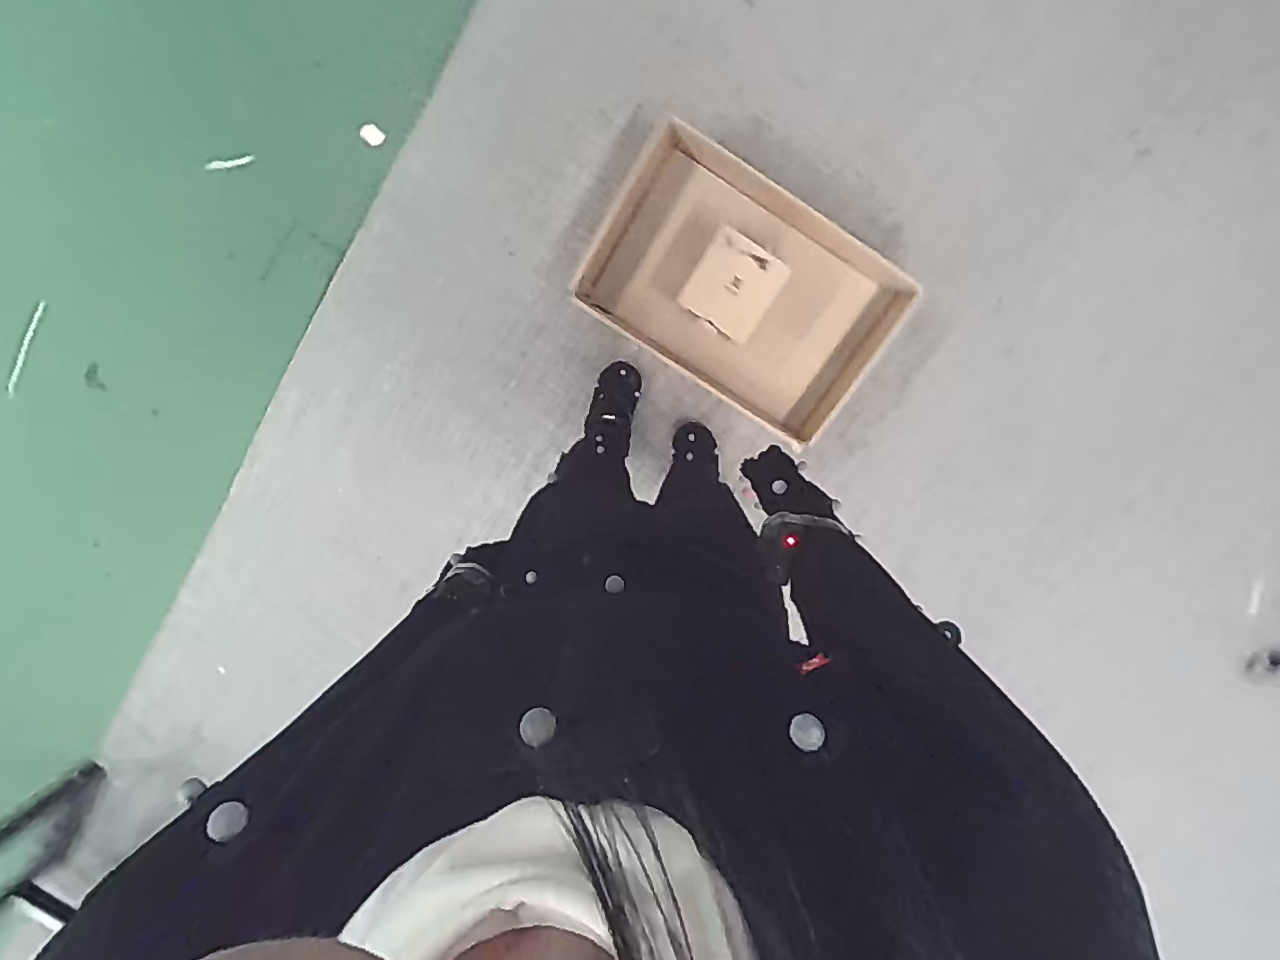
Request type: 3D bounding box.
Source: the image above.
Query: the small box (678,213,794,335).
[{"bbox_3d":[0.202,-0.429,1.154,0.168,0.176,0.179,34,107,-3],"label":"small box"}]
